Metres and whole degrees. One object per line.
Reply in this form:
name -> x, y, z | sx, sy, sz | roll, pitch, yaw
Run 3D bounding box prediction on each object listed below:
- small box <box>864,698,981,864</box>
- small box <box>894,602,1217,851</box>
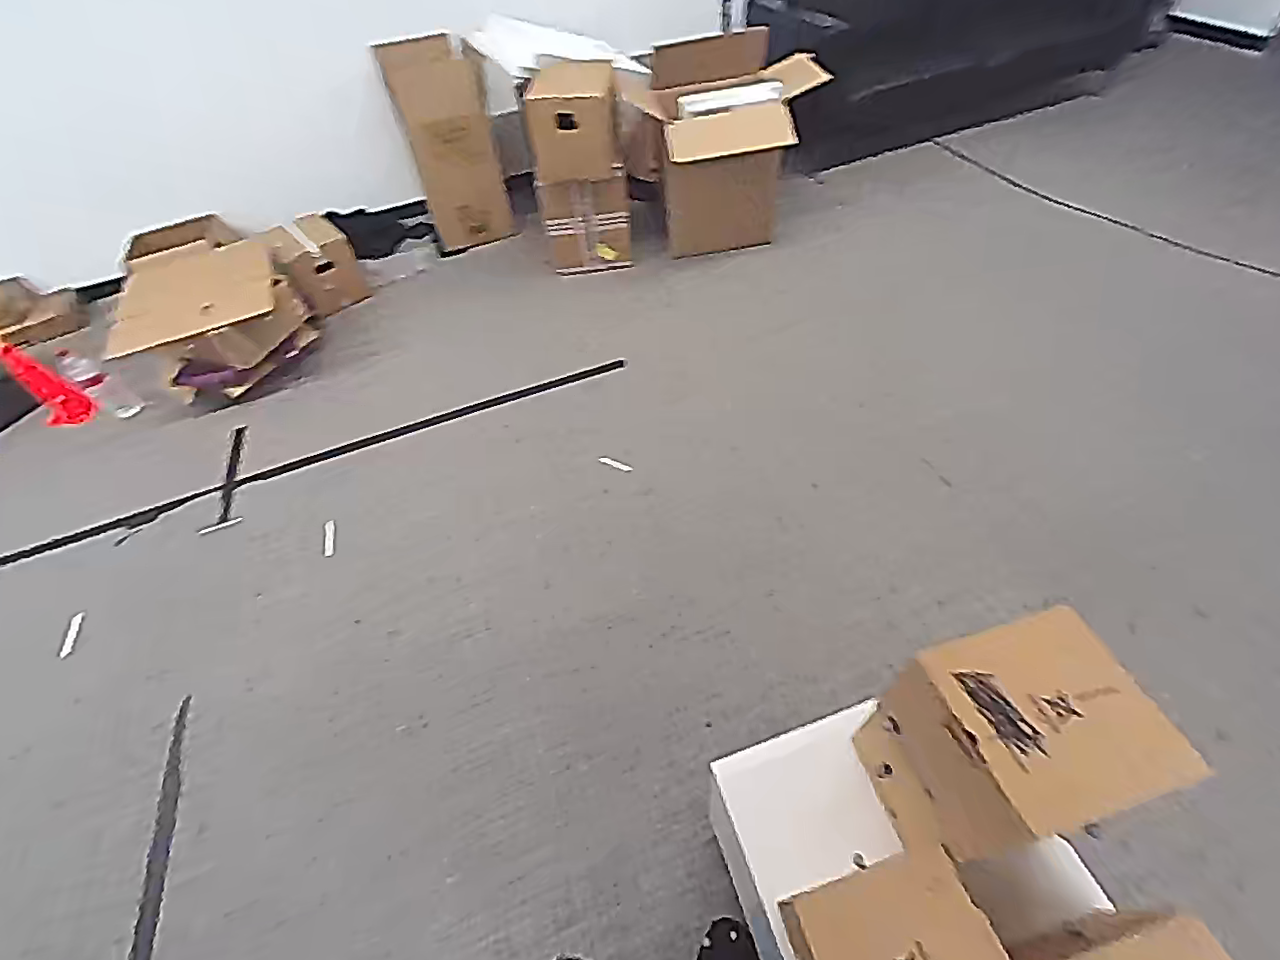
small box -> 0.404, 0.360, 0.679 | 0.179, 0.176, 0.168 | -15, 52, -5
small box -> 0.388, 0.256, 0.554 | 0.179, 0.176, 0.168 | -15, 52, -6
